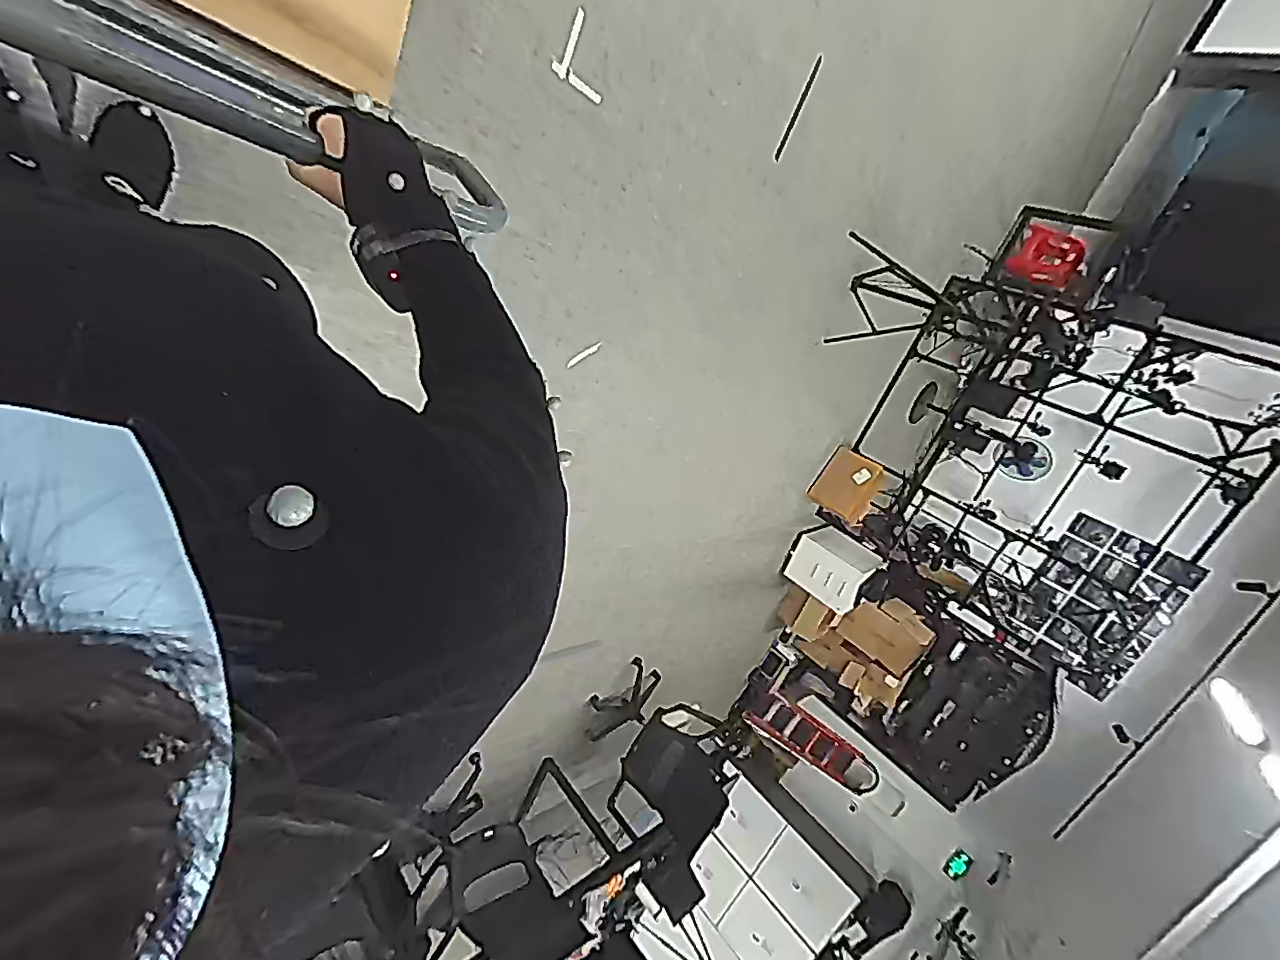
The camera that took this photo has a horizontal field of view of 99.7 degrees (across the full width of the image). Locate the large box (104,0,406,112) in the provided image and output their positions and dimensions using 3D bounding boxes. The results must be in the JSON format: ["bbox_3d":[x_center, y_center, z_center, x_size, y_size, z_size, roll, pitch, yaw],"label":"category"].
[{"bbox_3d":[-0.561,-0.752,0.700,0.408,0.320,0.320,0,119,-50],"label":"large box"}]
